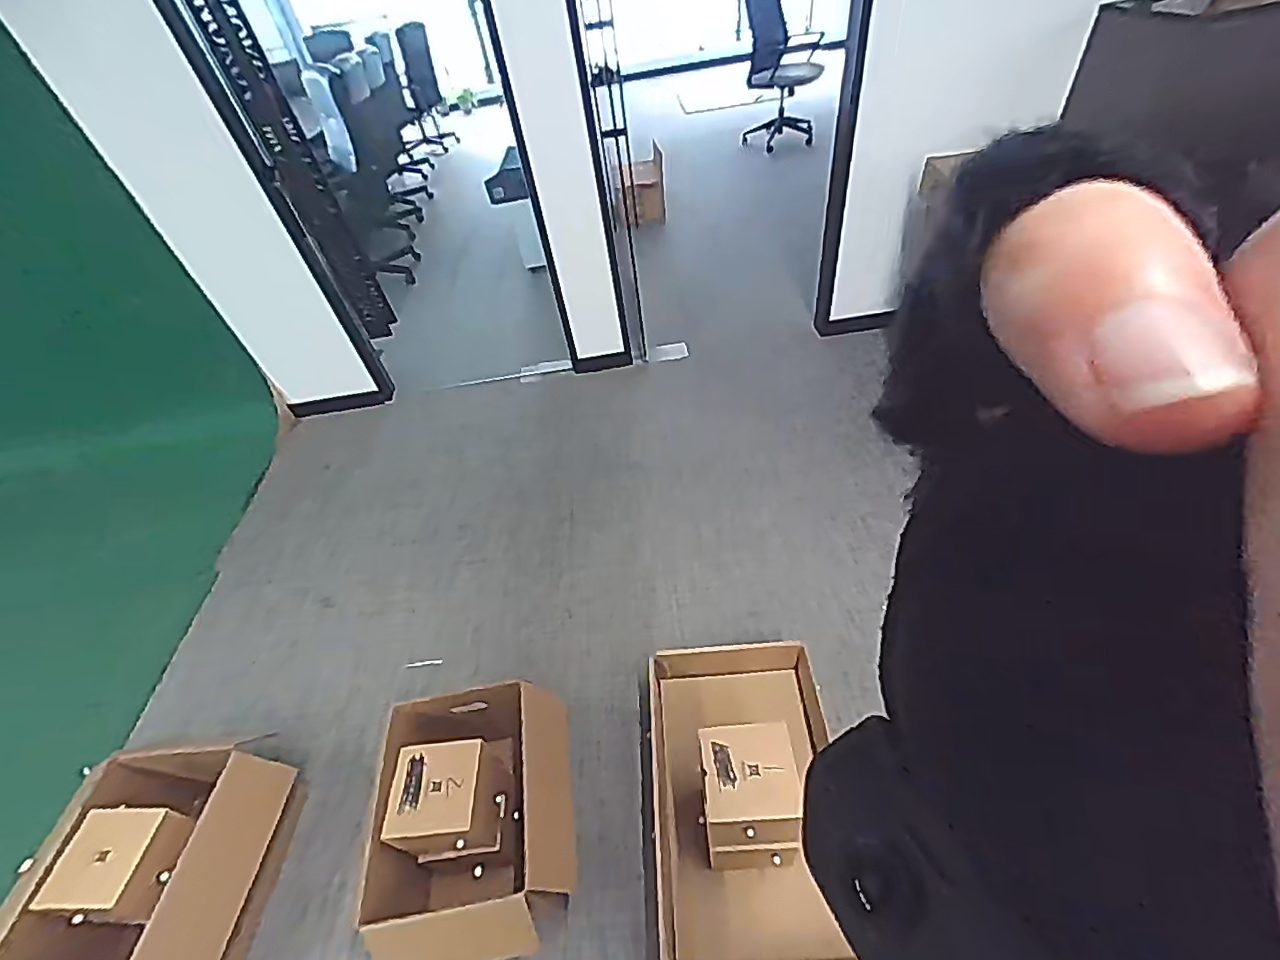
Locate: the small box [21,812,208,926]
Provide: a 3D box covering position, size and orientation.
[{"bbox_3d":[-1.051,0.794,1.104,0.179,0.176,0.168,-4,44,4],"label":"small box"}]

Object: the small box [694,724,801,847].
[{"bbox_3d":[0.203,0.600,1.057,0.179,0.176,0.168,-5,43,2],"label":"small box"}]
